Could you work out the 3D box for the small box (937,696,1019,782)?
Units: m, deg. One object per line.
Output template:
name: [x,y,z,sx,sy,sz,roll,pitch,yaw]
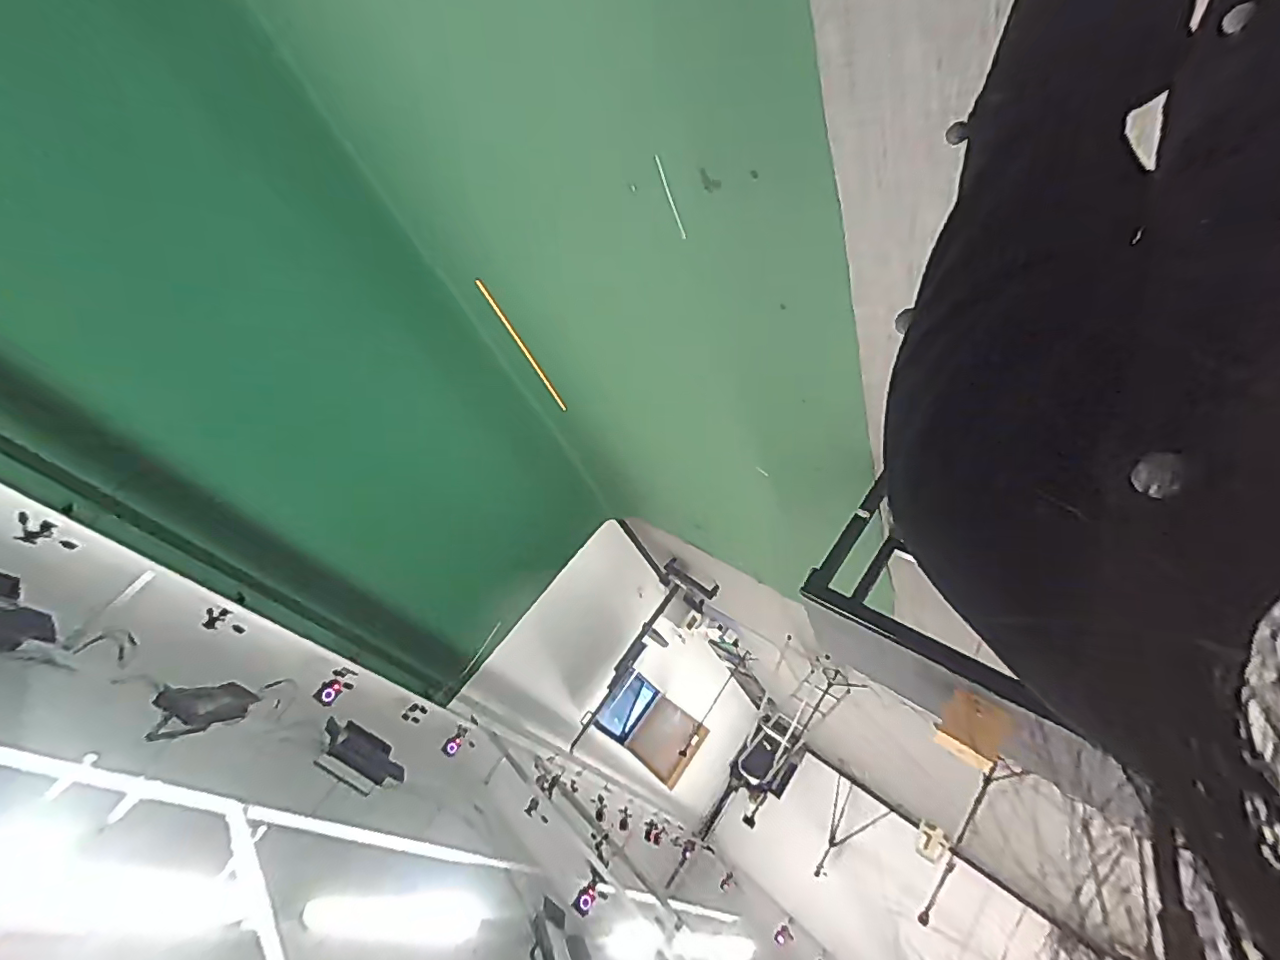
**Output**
small box: [1.084,0.828,1.736,0.168,0.176,0.179,27,158,35]
